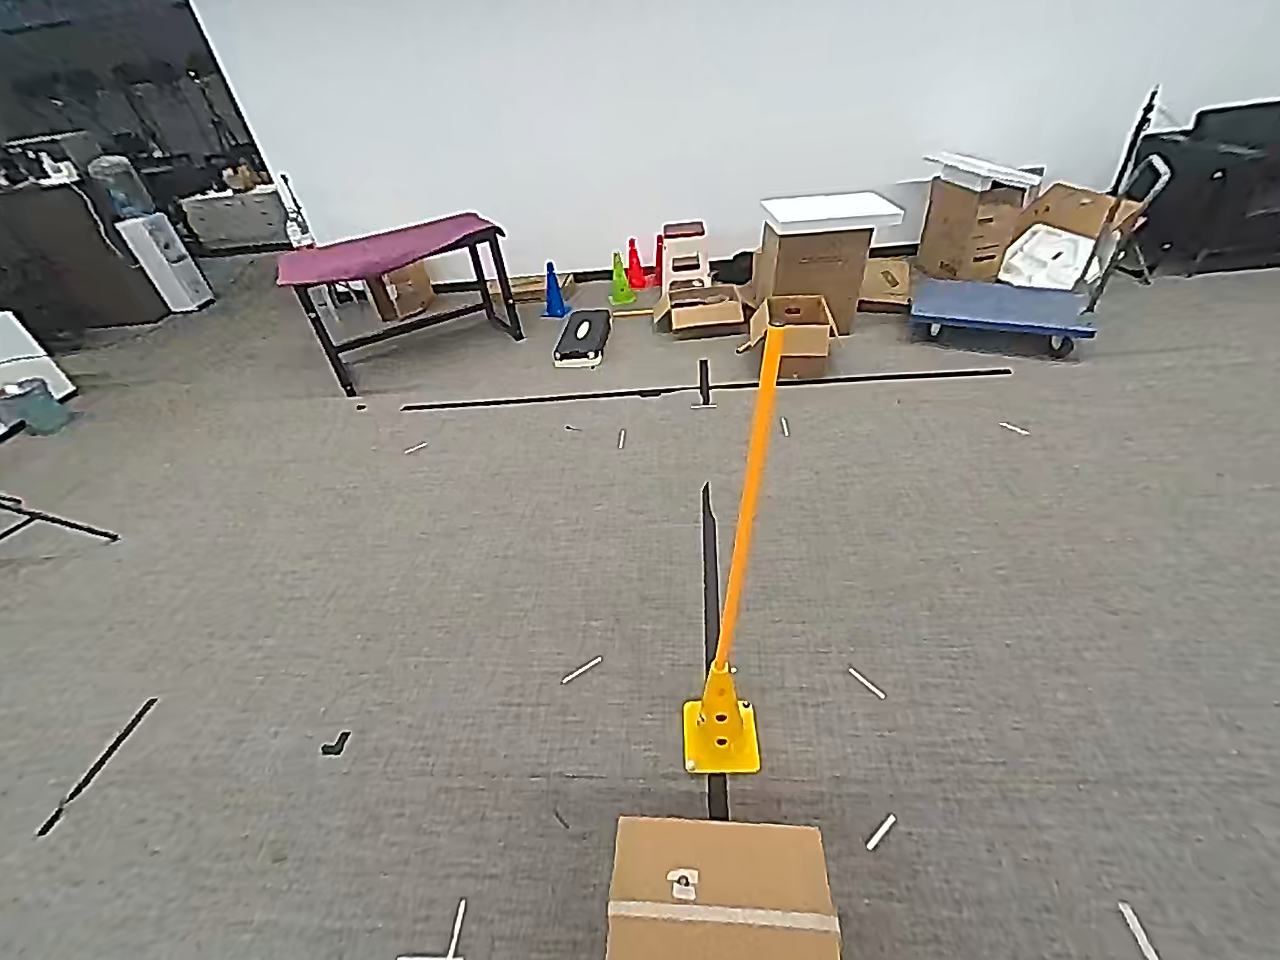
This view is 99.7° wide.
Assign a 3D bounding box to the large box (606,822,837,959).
[{"bbox_3d":[0.158,0.910,1.068,0.408,0.320,0.320,-2,37,7],"label":"large box"}]
